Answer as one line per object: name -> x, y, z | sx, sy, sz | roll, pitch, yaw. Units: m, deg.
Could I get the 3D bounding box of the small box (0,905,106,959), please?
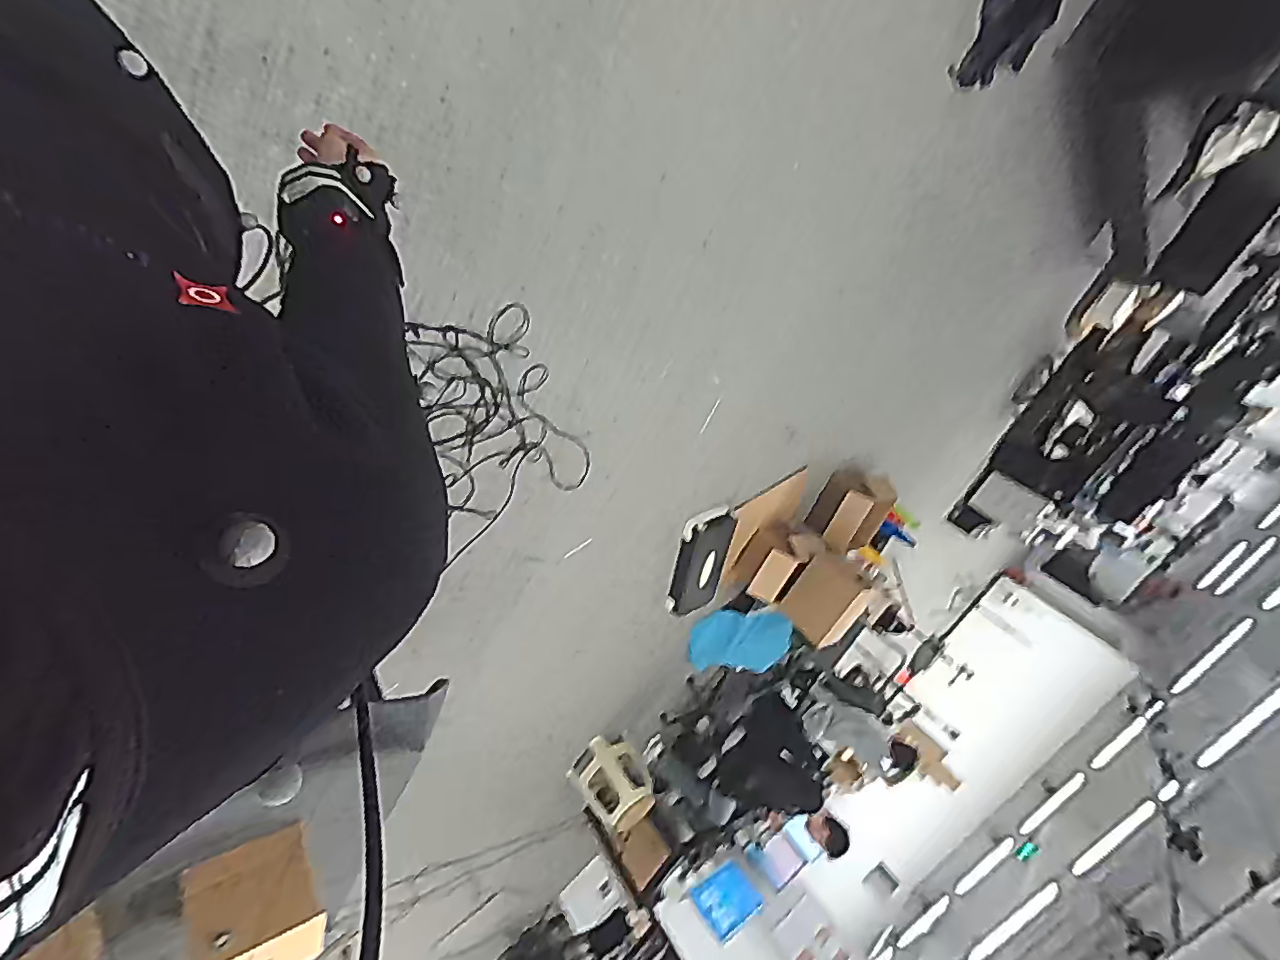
small box -> -0.830, 0.717, 0.716 | 0.168, 0.176, 0.179 | -3, 126, -41

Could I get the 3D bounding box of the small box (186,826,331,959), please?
small box -> -0.644, 0.734, 0.912 | 0.179, 0.176, 0.168 | -6, 127, -41
